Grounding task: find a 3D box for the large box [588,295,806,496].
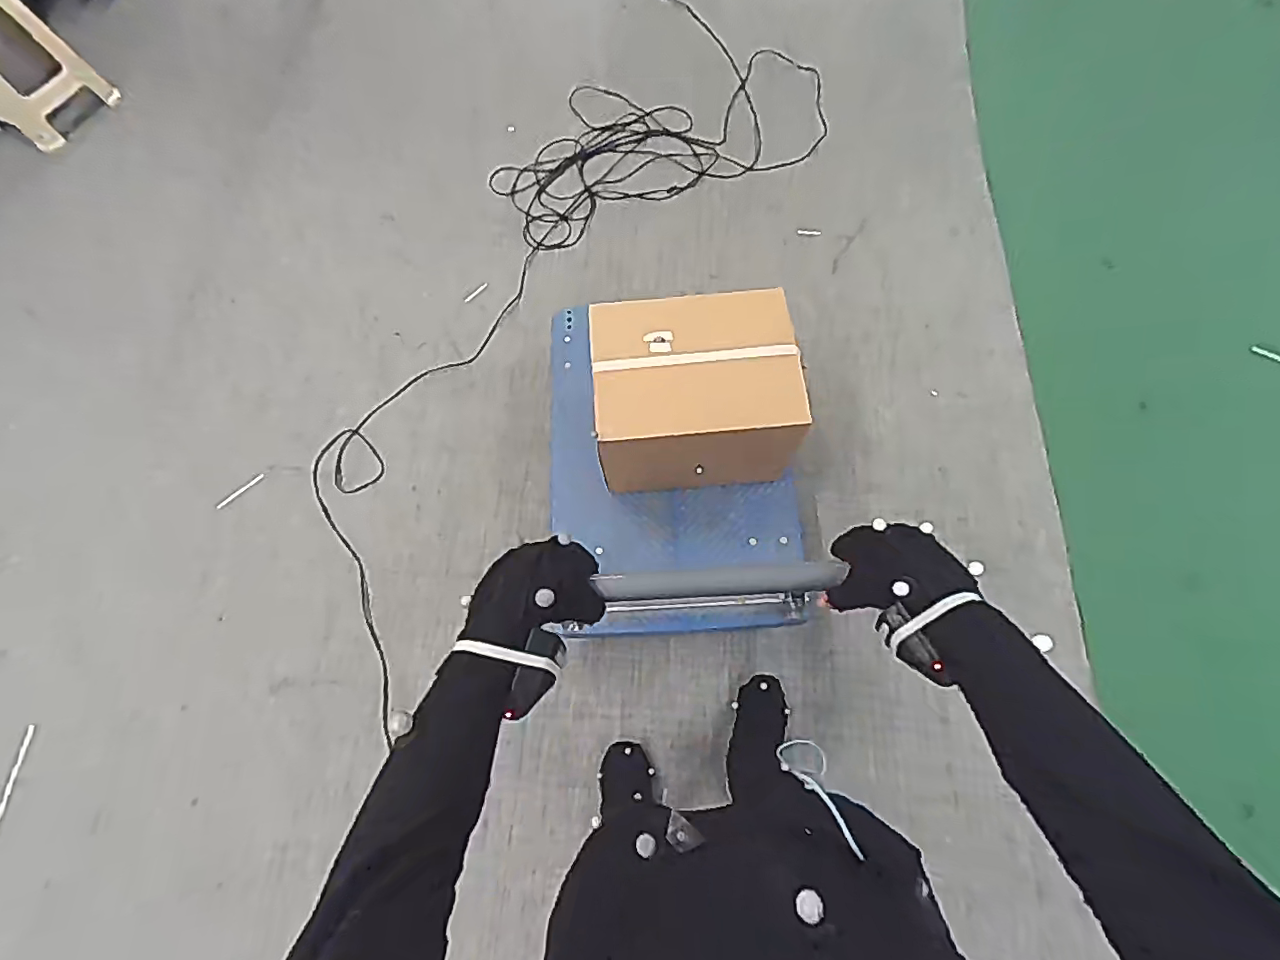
[{"bbox_3d":[0.113,-0.171,1.213,0.408,0.320,0.320,-6,69,1],"label":"large box"}]
